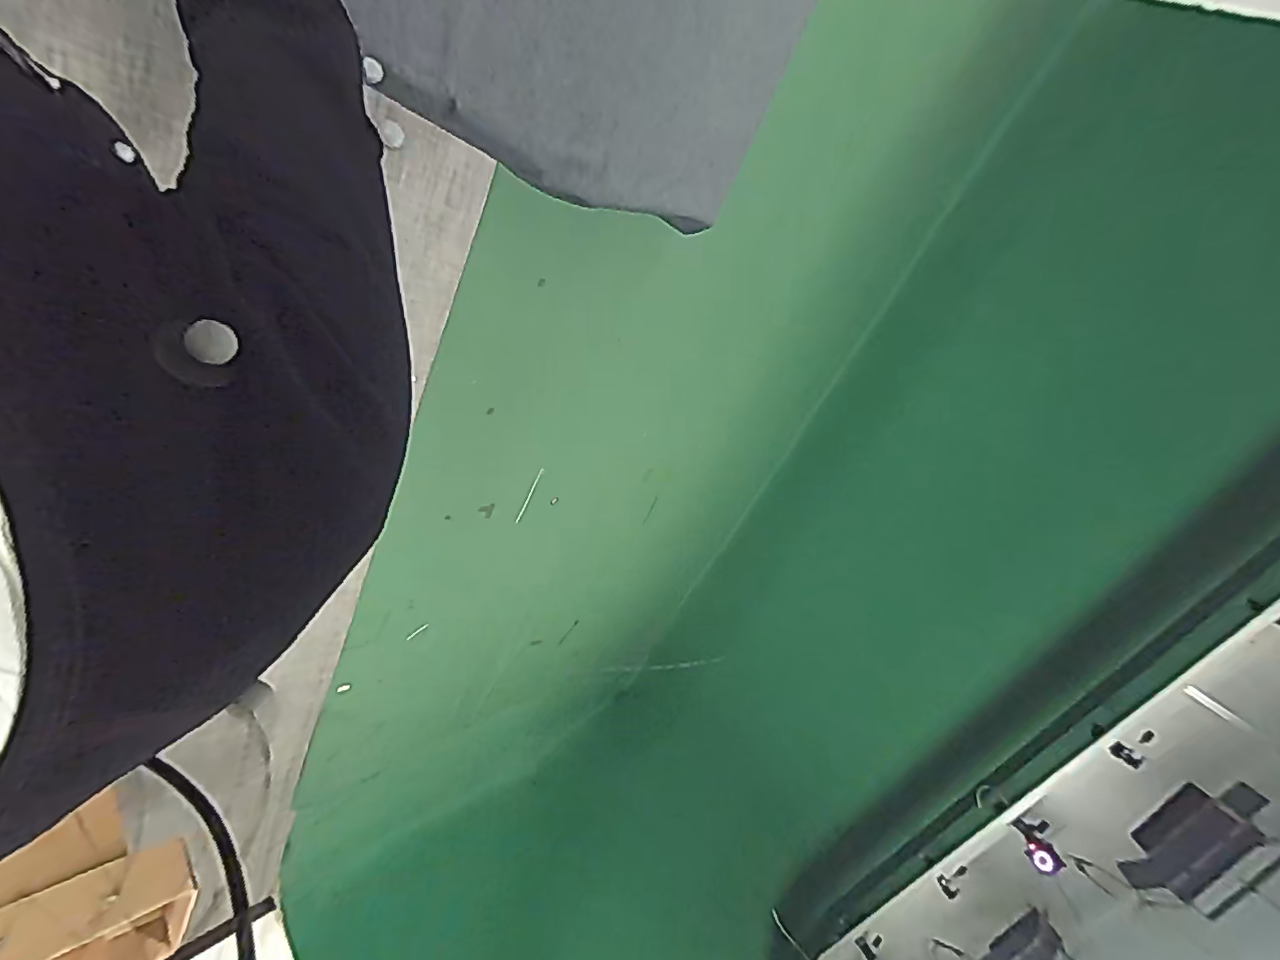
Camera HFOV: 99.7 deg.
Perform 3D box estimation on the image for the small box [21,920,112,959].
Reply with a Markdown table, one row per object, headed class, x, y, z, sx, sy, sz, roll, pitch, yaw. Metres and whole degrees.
| class | x | y | z | sx | sy | sz | roll | pitch | yaw |
| --- | --- | --- | --- | --- | --- | --- | --- | --- | --- |
| small box | -1.578 | 1.366 | 1.484 | 0.168 | 0.176 | 0.179 | 0 | 128 | -51 |
